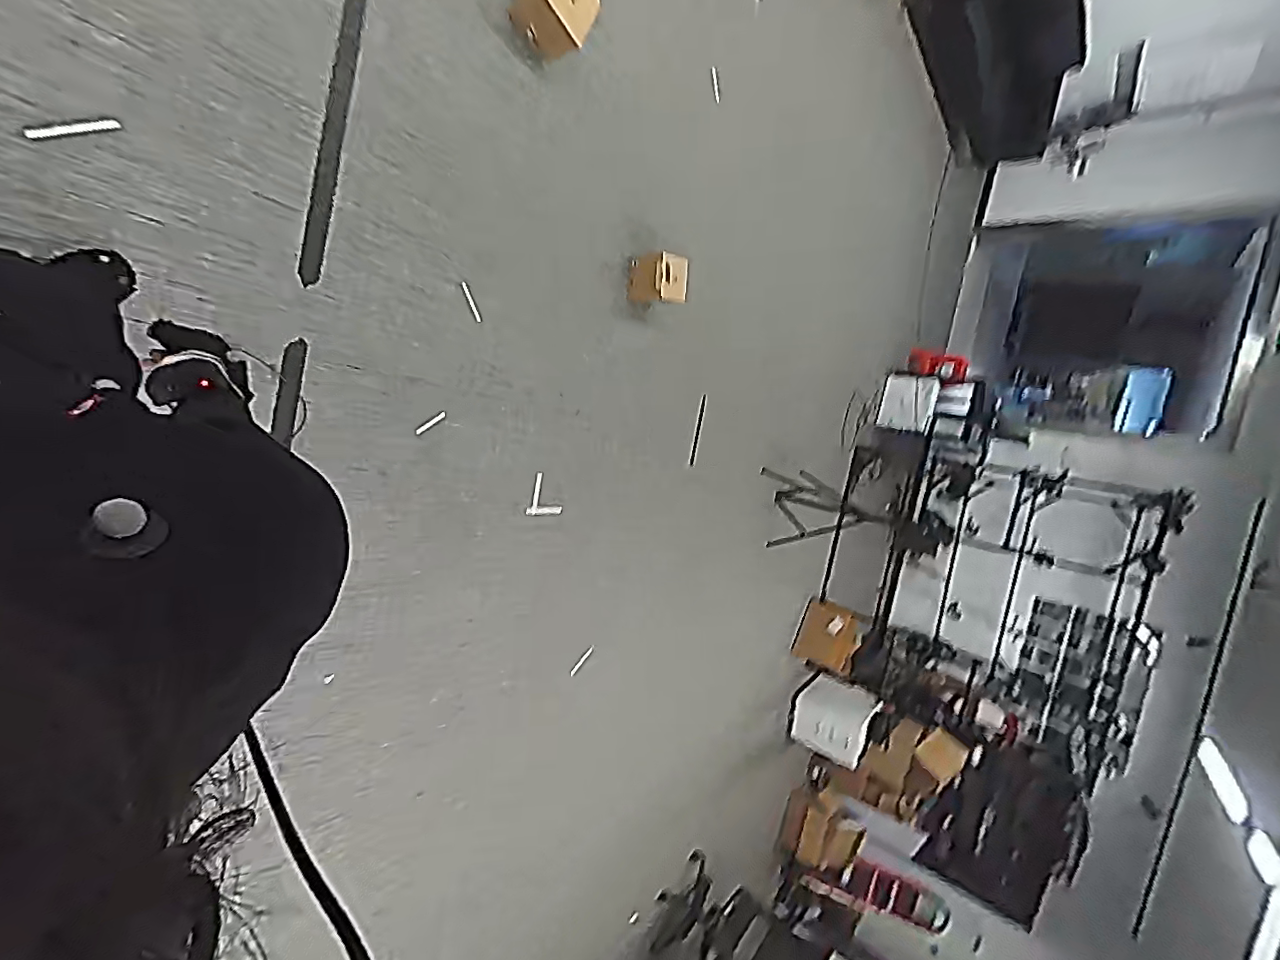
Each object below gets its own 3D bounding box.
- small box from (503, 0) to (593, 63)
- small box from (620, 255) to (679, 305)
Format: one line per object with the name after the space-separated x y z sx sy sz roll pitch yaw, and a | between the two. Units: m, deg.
-0.274 -1.396 1.602 0.168 0.176 0.179 31 78 -50 | small box
0.037 -0.804 2.191 0.179 0.176 0.168 -12 110 -50 | small box
